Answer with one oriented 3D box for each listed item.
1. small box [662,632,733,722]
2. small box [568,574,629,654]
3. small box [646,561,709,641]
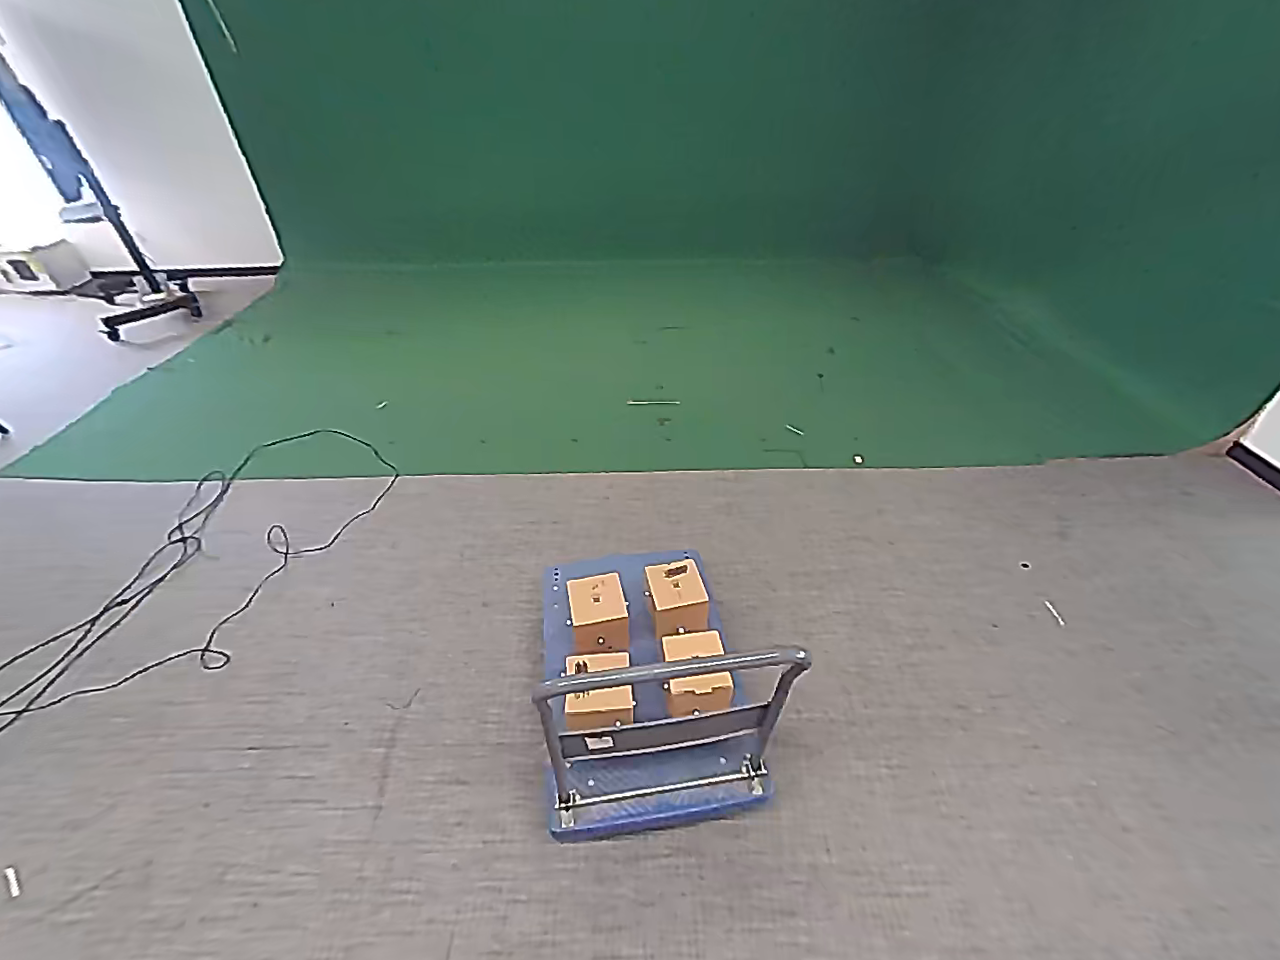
[{"bbox_3d":[0.157,0.563,1.547,0.168,0.176,0.179,-6,40,-6],"label":"small box"},{"bbox_3d":[-0.130,0.430,1.713,0.168,0.176,0.179,-8,40,-9],"label":"small box"},{"bbox_3d":[0.116,0.392,1.752,0.168,0.176,0.179,-9,41,-8],"label":"small box"}]
